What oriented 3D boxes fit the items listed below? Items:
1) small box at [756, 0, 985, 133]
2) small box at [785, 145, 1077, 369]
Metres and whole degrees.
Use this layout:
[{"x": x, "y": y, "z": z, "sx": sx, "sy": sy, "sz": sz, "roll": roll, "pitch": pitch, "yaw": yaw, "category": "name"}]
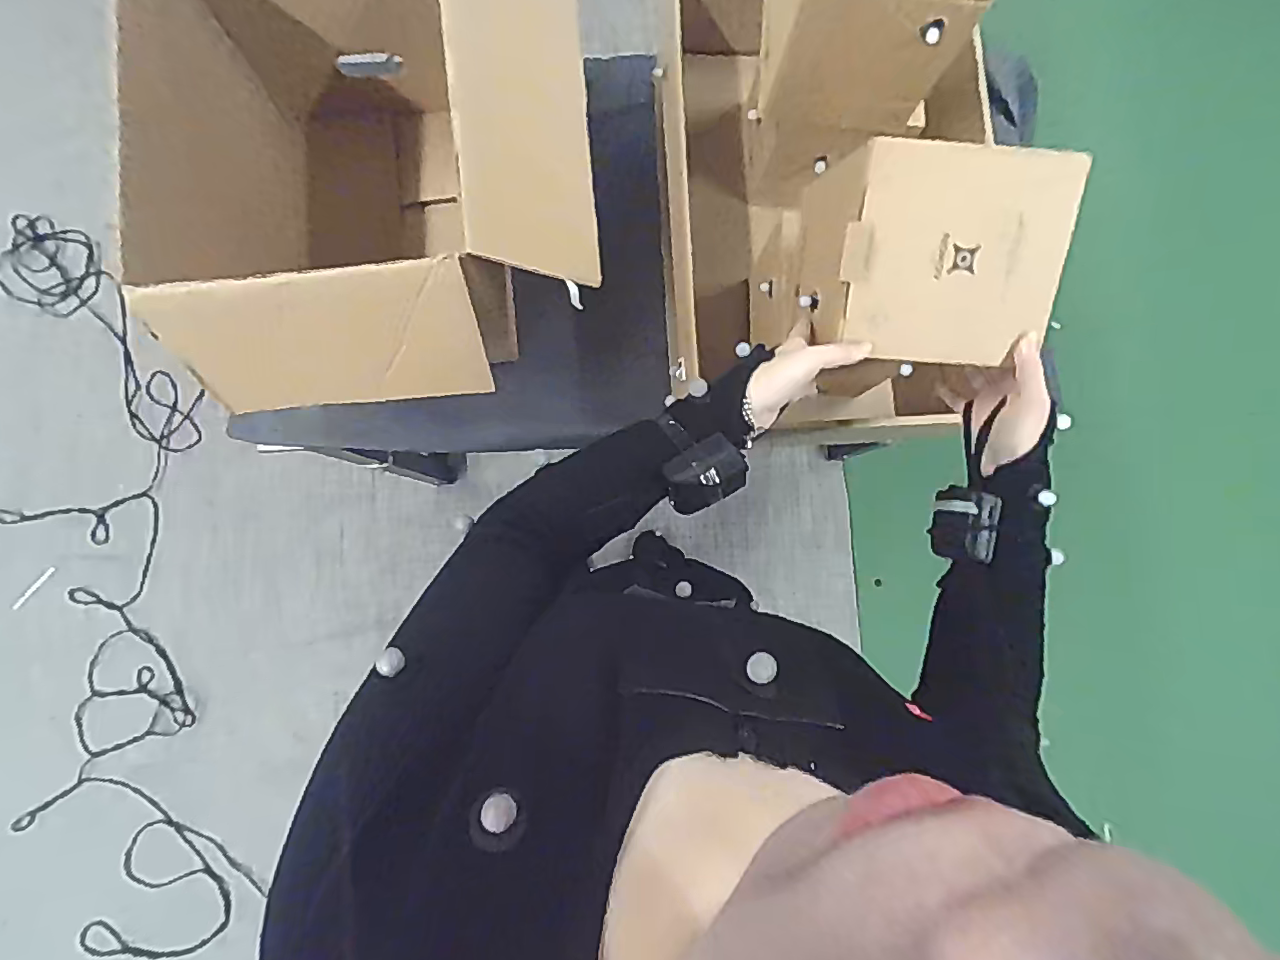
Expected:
[{"x": 0.230, "y": -0.507, "z": 0.576, "sx": 0.179, "sy": 0.176, "sz": 0.168, "roll": 4, "pitch": 85, "yaw": -3, "category": "small box"}, {"x": 0.254, "y": -0.204, "z": 0.525, "sx": 0.179, "sy": 0.176, "sz": 0.168, "roll": 2, "pitch": 108, "yaw": -3, "category": "small box"}]
